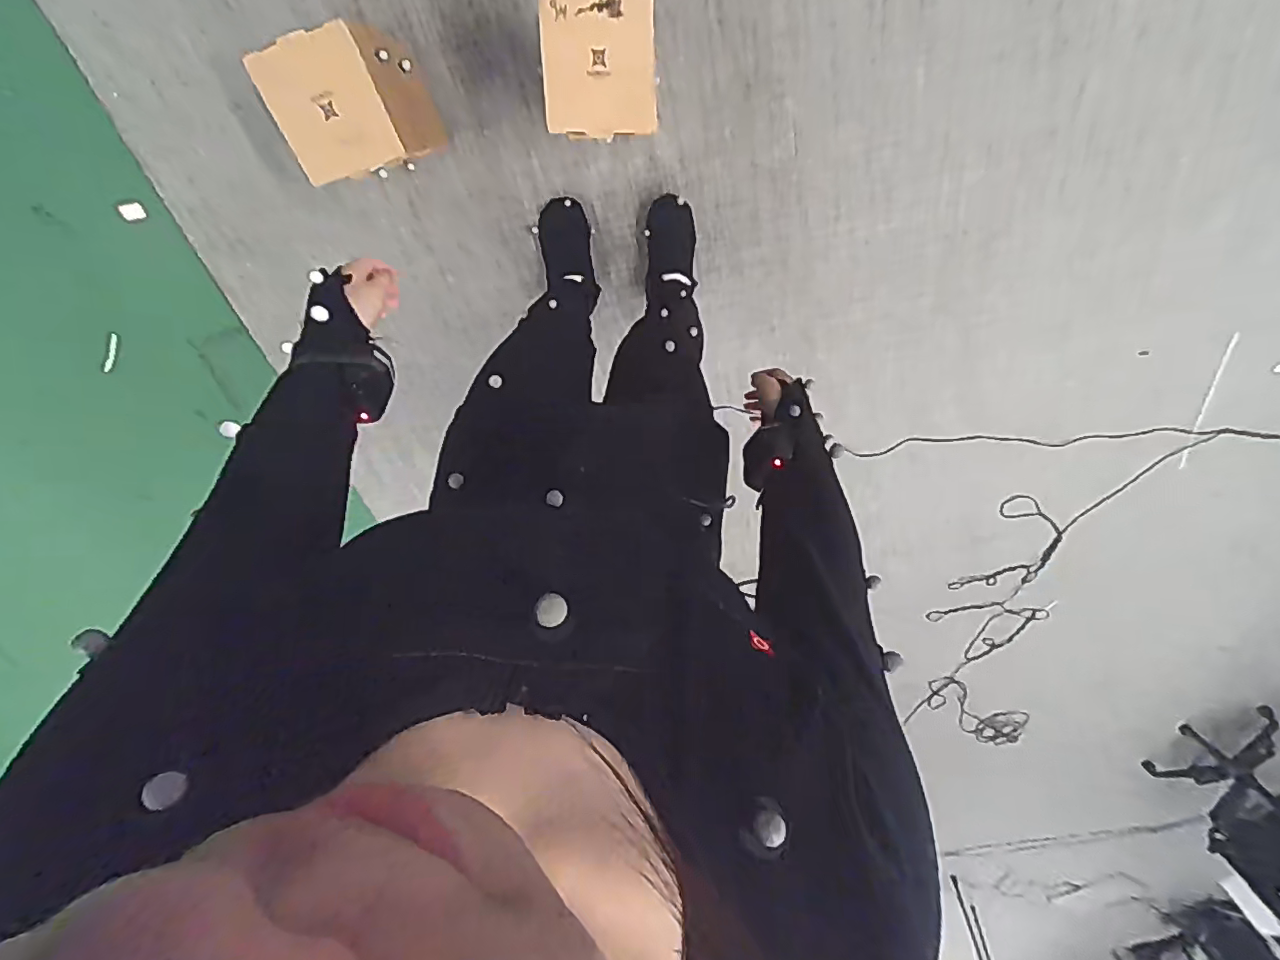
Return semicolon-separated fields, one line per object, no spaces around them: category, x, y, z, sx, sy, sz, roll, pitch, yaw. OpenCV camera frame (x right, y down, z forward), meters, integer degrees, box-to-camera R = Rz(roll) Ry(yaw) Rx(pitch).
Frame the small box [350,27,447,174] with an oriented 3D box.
small box;-0.483;-0.689;0.995;0.168;0.176;0.179;-16;125;6

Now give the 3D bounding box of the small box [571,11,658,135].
small box;-0.058;-0.745;0.995;0.168;0.176;0.179;-5;126;-2

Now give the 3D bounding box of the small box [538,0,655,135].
small box;-0.067;-0.658;0.855;0.168;0.176;0.179;-1;126;-4

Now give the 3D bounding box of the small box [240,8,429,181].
small box;-0.466;-0.602;0.859;0.168;0.176;0.179;-15;125;7
